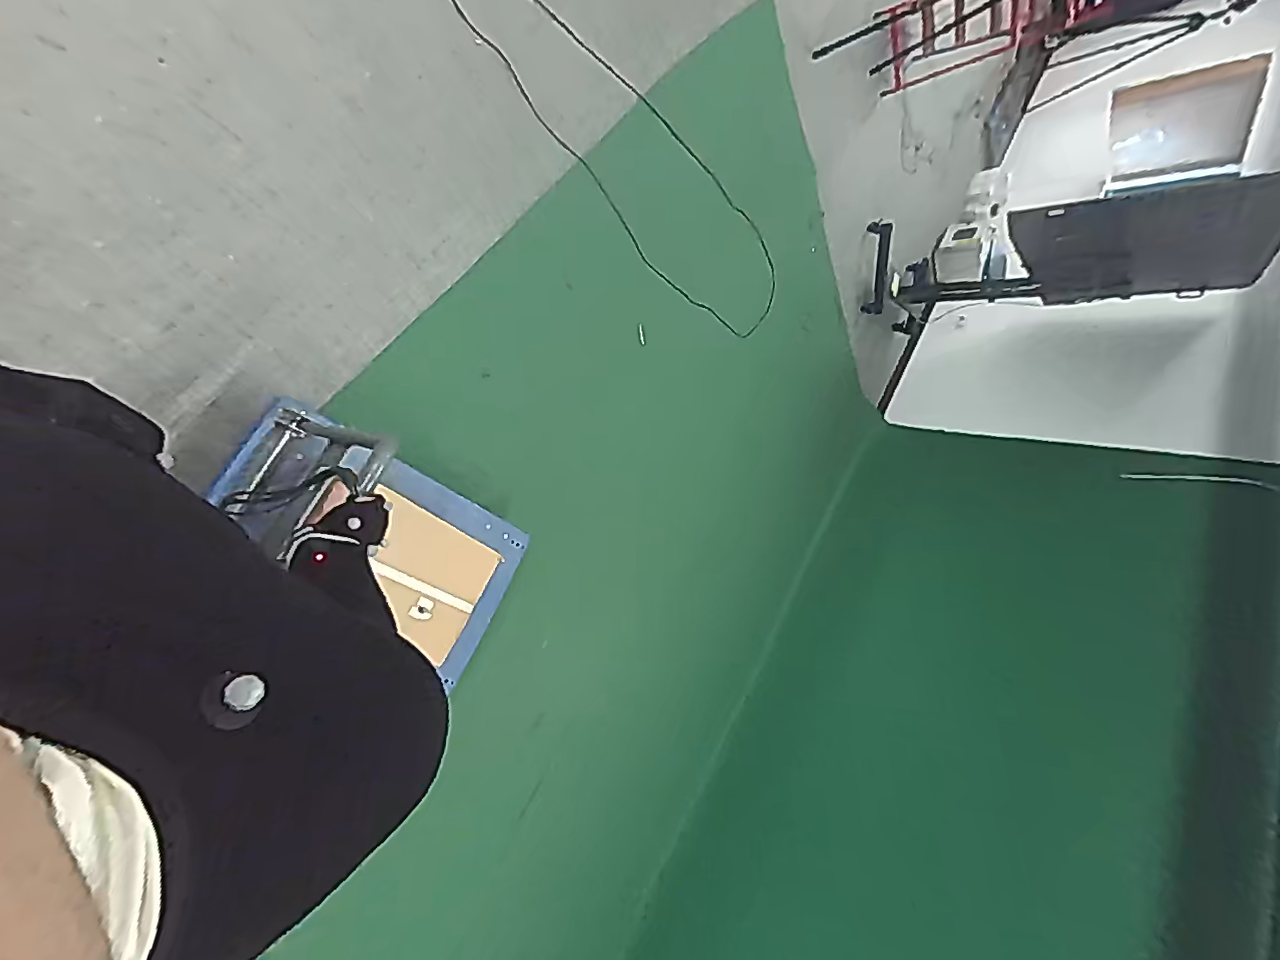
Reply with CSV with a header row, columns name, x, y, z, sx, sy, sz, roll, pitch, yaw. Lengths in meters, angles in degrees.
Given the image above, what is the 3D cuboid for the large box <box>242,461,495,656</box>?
name,x,y,z,sx,sy,sz,roll,pitch,yaw
large box,-0.659,0.193,1.346,0.408,0.320,0.320,45,66,-45
